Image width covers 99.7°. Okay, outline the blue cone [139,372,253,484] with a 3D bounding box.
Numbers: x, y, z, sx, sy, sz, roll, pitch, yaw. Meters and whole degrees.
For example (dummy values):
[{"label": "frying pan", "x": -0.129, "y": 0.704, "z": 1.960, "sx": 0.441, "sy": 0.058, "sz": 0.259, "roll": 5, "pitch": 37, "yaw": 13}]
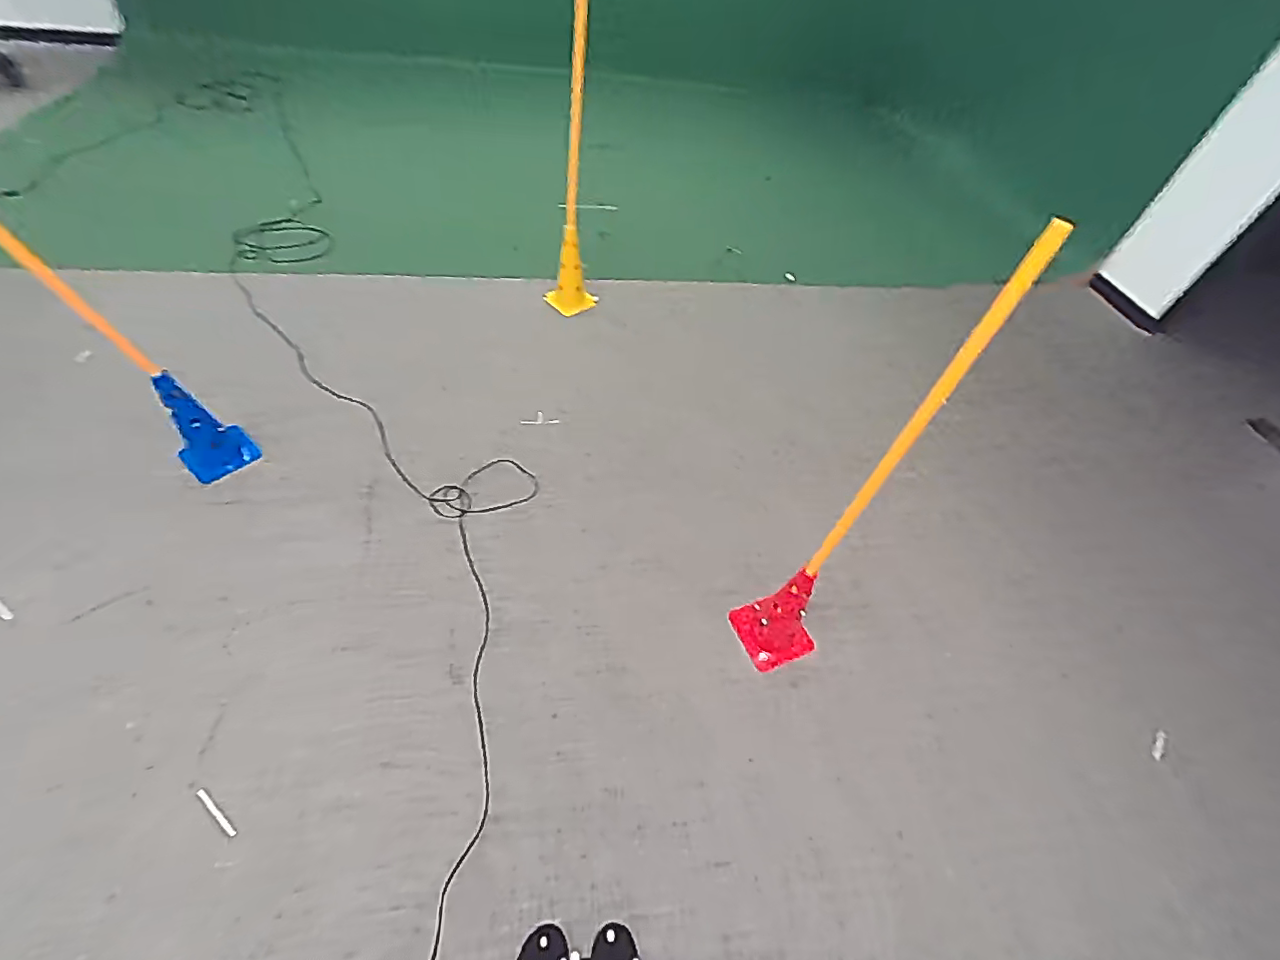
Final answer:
[{"label": "blue cone", "x": -1.402, "y": -0.177, "z": 1.668, "sx": 0.192, "sy": 0.380, "sz": 0.193, "roll": 35, "pitch": 58, "yaw": 20}]
